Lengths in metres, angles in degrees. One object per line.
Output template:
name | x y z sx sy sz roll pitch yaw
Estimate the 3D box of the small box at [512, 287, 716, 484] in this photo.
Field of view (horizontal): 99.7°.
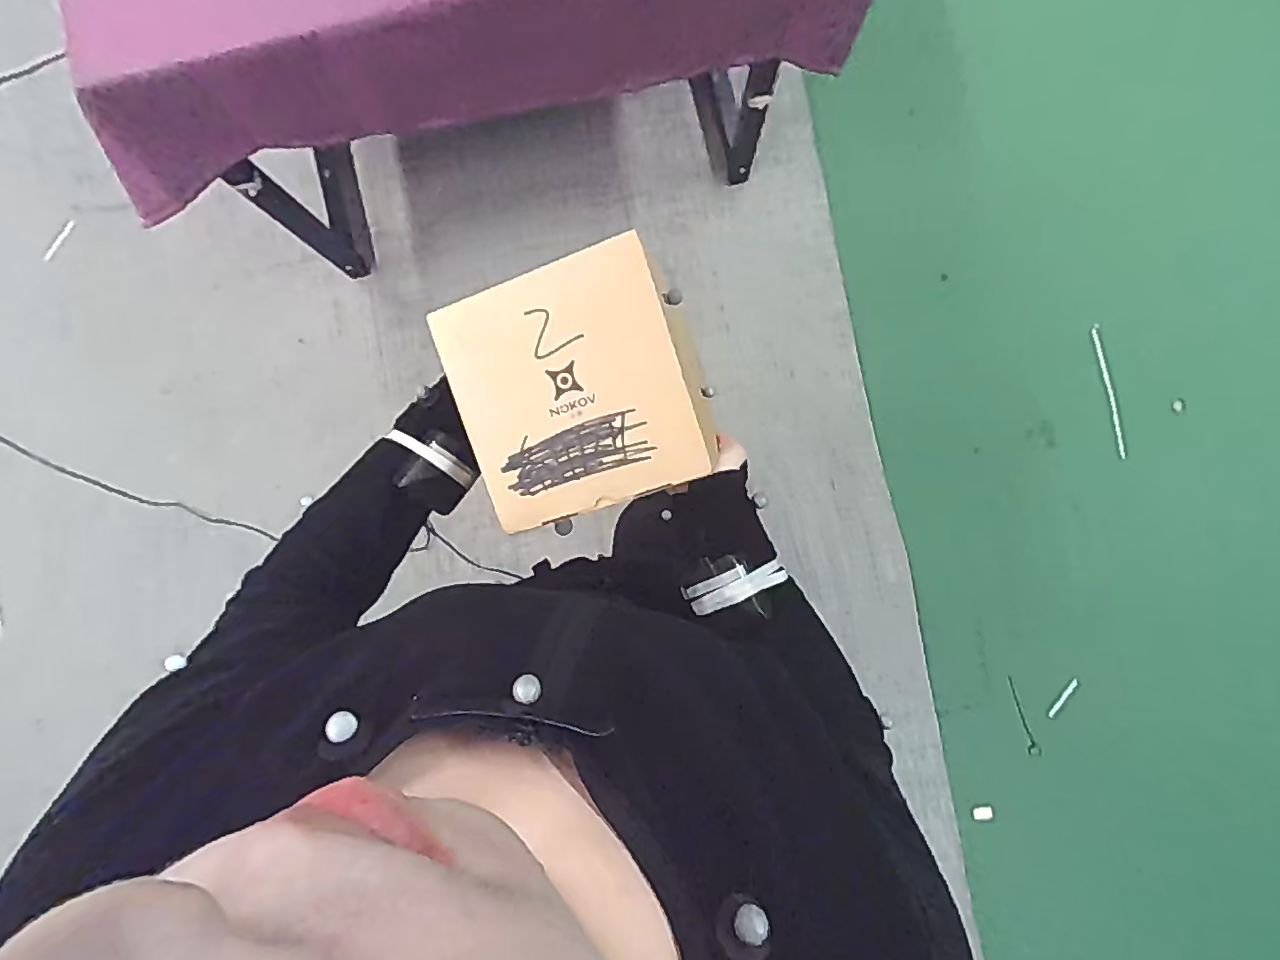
small box | -0.017 -0.104 0.628 0.179 0.176 0.168 -15 97 12
